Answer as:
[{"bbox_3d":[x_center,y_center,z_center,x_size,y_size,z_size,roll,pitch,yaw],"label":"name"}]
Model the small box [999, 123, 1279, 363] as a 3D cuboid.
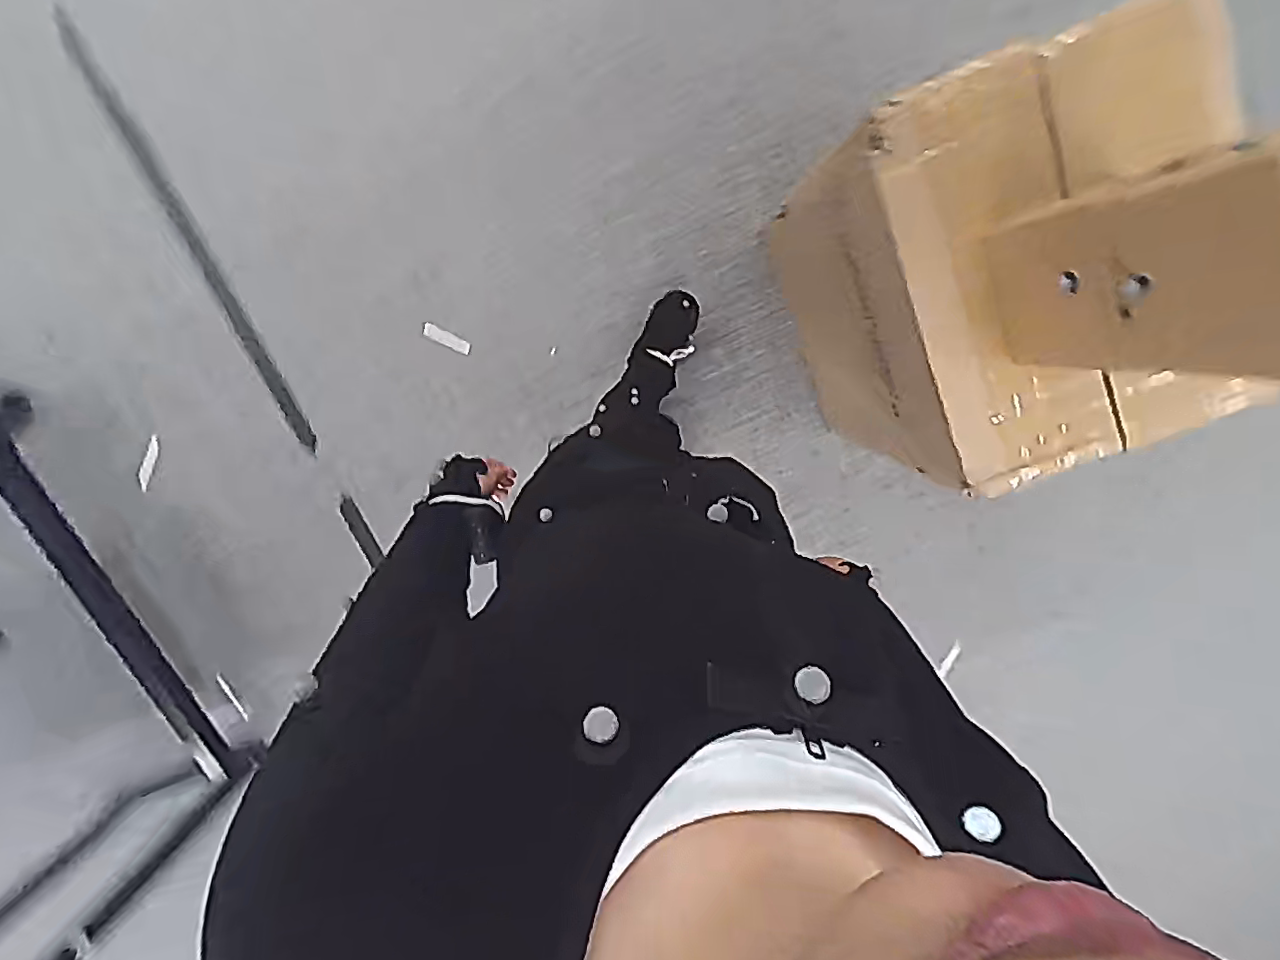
[{"bbox_3d":[0.534,-0.240,0.594,0.168,0.176,0.179,-20,104,6],"label":"small box"}]
